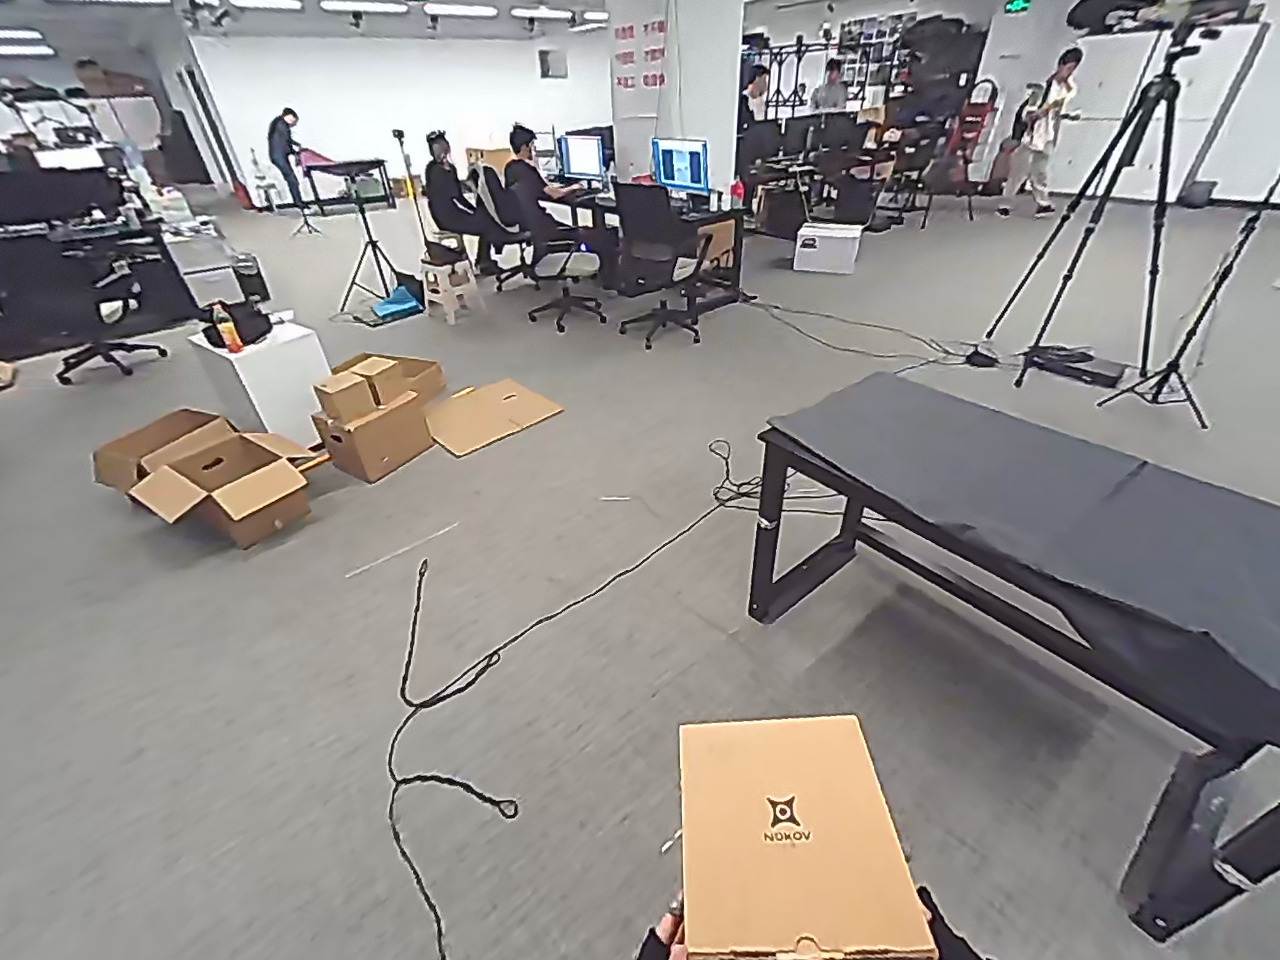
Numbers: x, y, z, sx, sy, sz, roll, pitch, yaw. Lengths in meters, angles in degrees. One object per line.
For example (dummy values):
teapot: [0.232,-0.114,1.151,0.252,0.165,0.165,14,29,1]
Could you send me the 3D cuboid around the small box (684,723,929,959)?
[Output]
small box: [0.127,0.348,0.483,0.168,0.176,0.179,-5,32,6]
